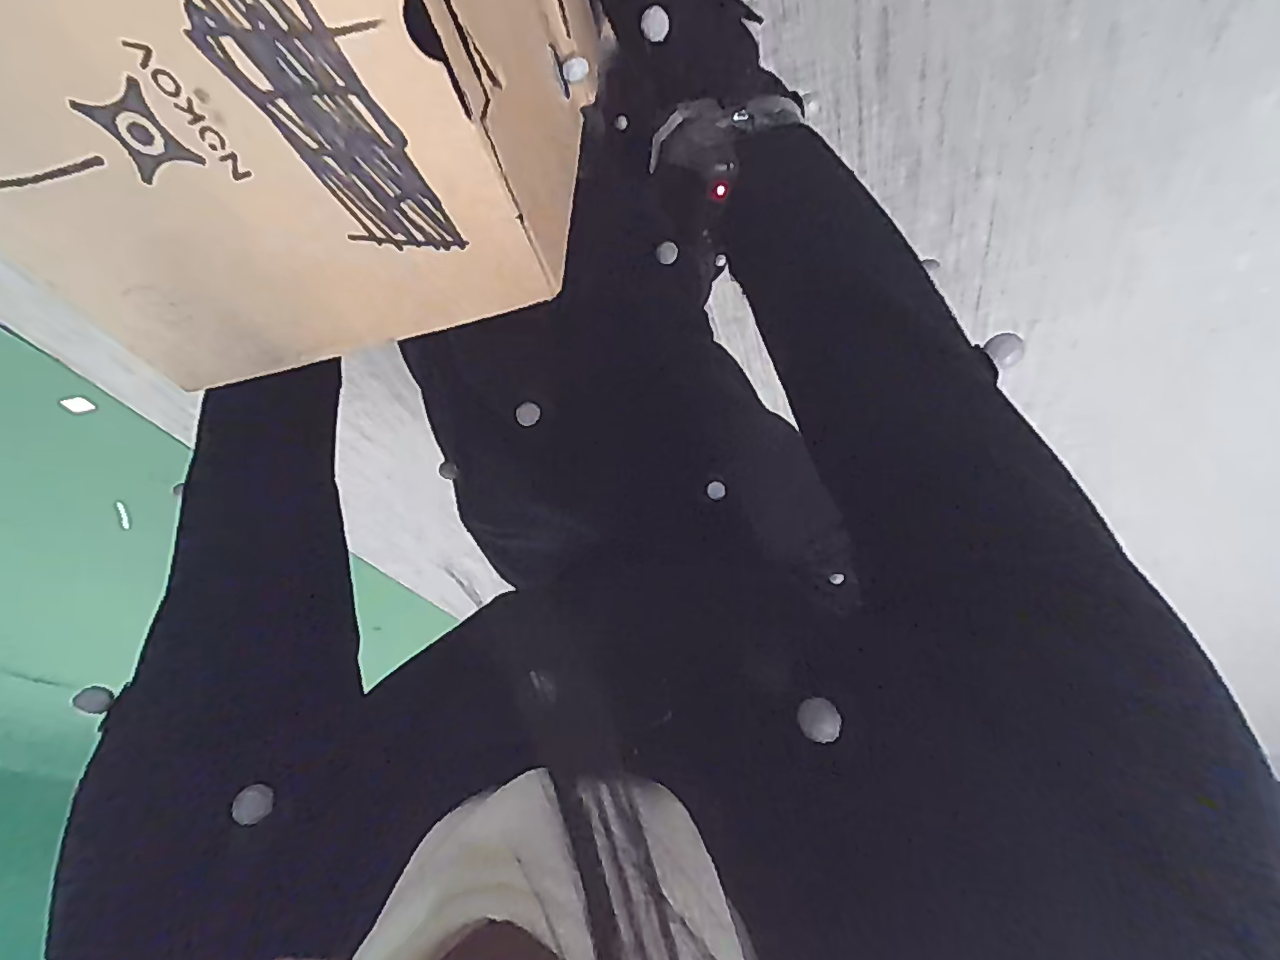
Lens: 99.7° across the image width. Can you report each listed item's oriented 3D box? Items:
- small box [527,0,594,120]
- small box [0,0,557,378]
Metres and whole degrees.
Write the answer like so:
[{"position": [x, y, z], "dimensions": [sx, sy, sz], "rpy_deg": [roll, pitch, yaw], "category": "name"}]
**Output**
[{"position": [-0.132, -0.301, 0.303], "dimensions": [0.179, 0.176, 0.168], "rpy_deg": [-10, 140, 12], "category": "small box"}, {"position": [-0.137, -0.167, 0.206], "dimensions": [0.179, 0.176, 0.168], "rpy_deg": [-8, 140, 10], "category": "small box"}]
